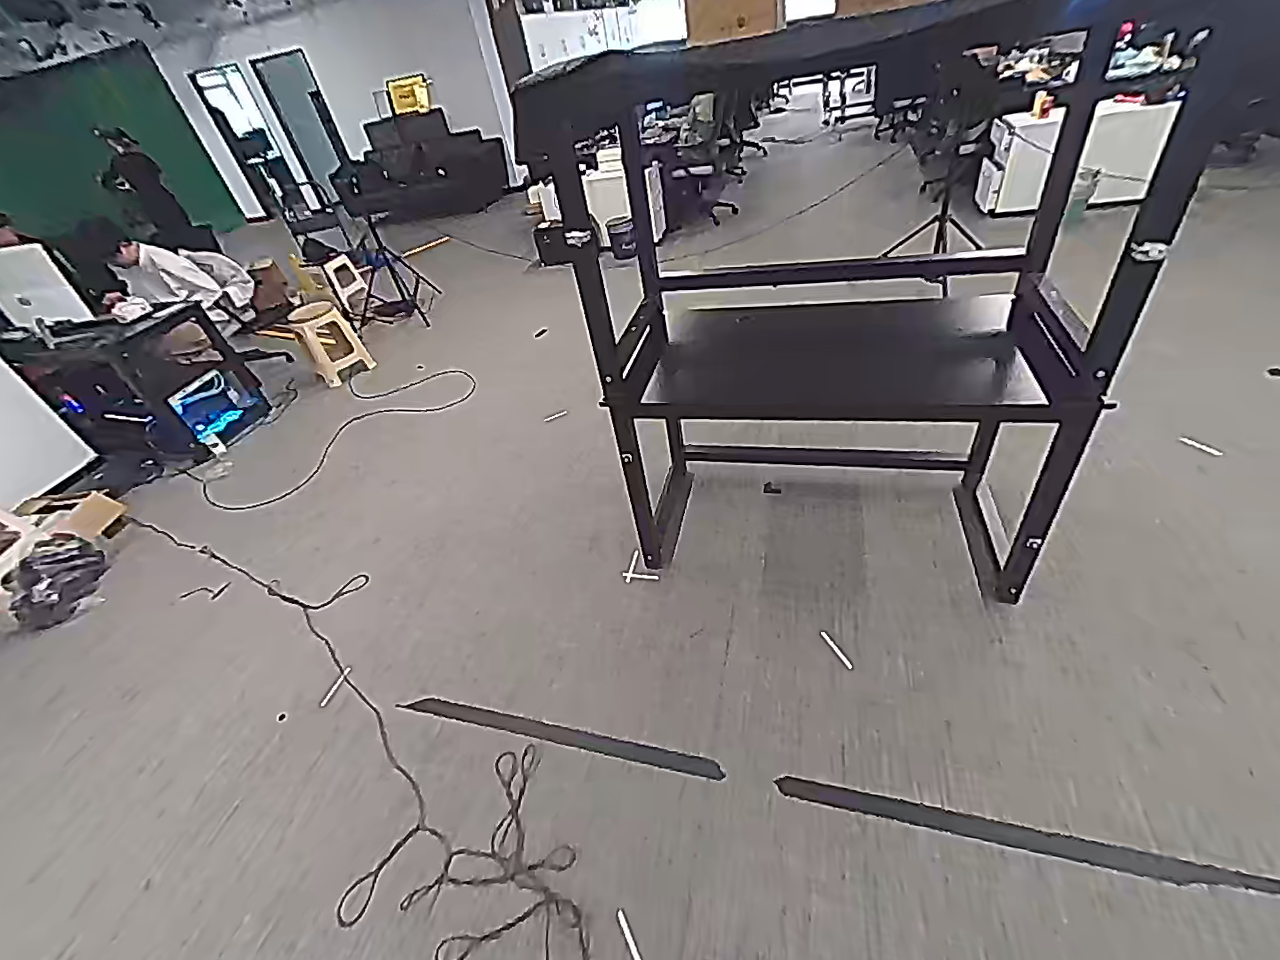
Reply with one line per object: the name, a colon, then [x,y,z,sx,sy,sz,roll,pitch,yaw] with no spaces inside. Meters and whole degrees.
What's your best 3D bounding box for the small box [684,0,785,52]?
small box: [0.179,-0.920,1.011,0.168,0.176,0.179,5,40,19]
